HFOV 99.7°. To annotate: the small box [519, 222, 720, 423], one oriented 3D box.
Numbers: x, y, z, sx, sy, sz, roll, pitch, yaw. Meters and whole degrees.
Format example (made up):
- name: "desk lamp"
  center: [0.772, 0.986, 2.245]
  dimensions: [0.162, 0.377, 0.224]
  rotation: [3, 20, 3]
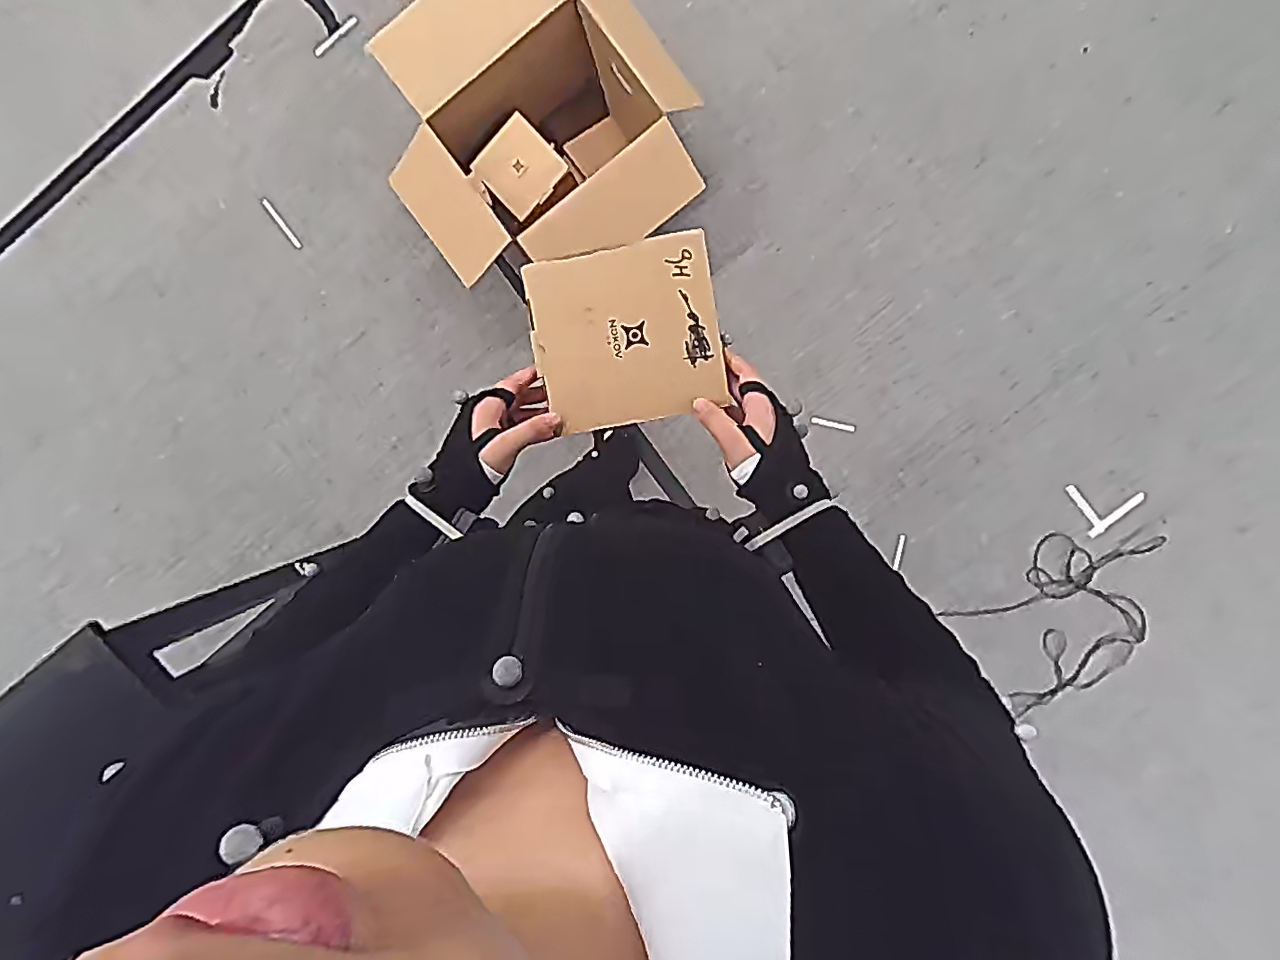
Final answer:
- name: "small box"
  center: [-0.011, -0.155, 0.593]
  dimensions: [0.179, 0.176, 0.168]
  rotation: [-9, 97, 6]
